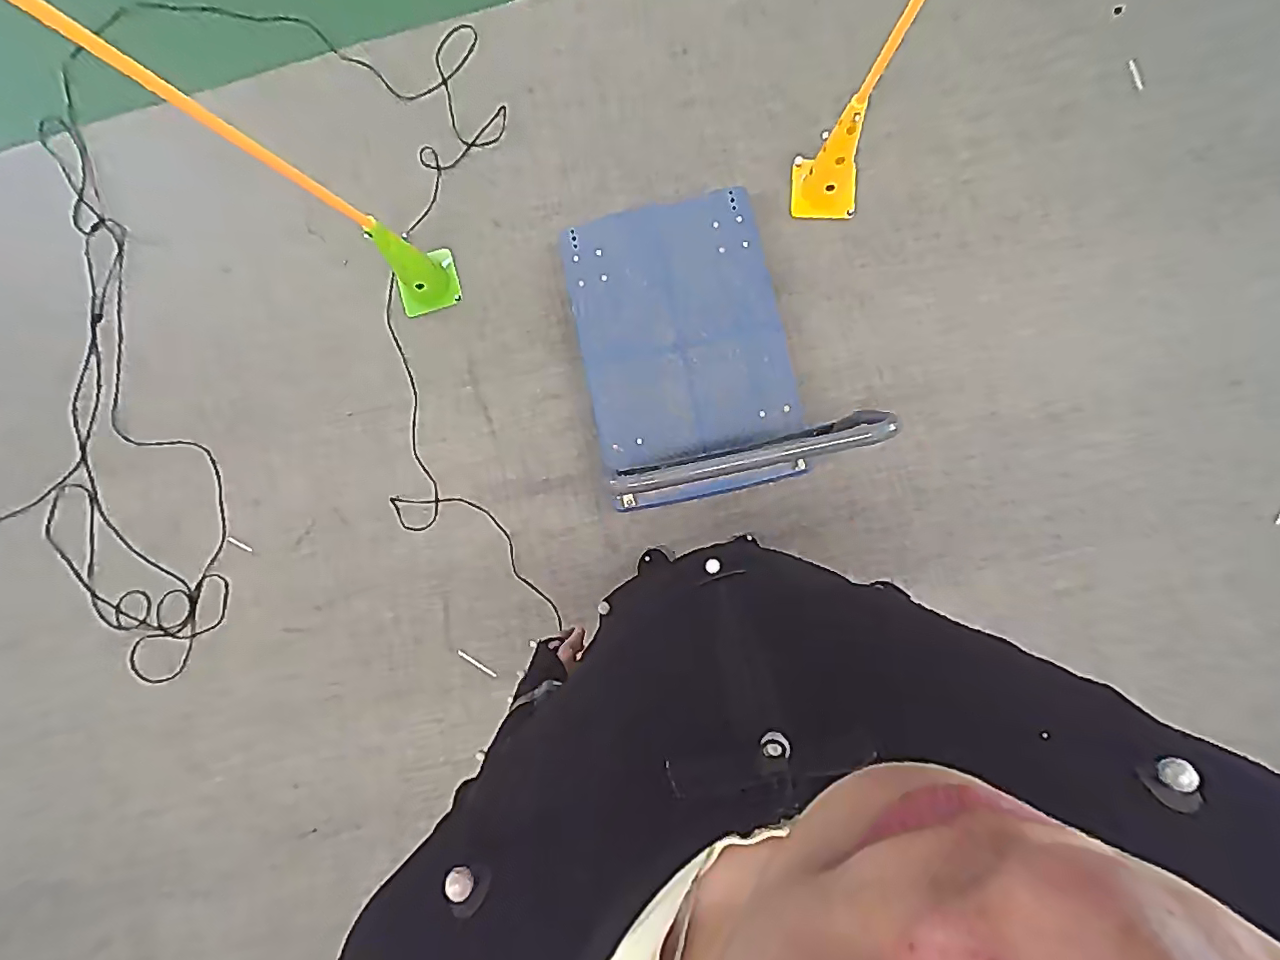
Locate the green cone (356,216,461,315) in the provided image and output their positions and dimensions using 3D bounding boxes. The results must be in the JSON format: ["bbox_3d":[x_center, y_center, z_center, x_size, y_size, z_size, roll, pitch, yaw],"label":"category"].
[{"bbox_3d":[-0.722,-0.681,1.628,0.202,0.368,0.200,-17,83,4],"label":"green cone"}]
